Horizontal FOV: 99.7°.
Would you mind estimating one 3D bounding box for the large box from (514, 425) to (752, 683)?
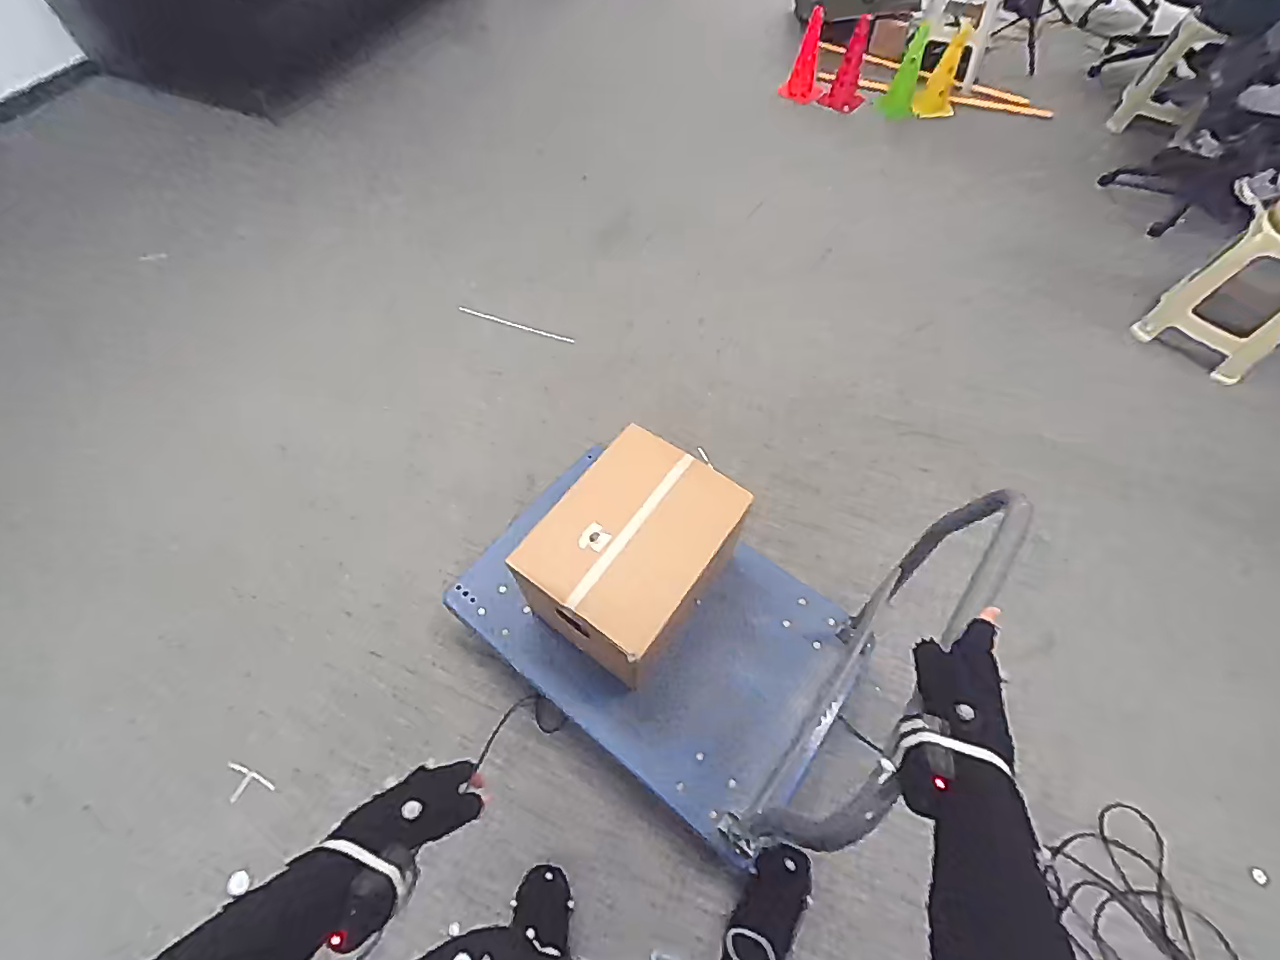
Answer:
[{"bbox_3d":[-0.009,0.165,1.189,0.320,0.320,0.408,33,65,16],"label":"large box"}]
